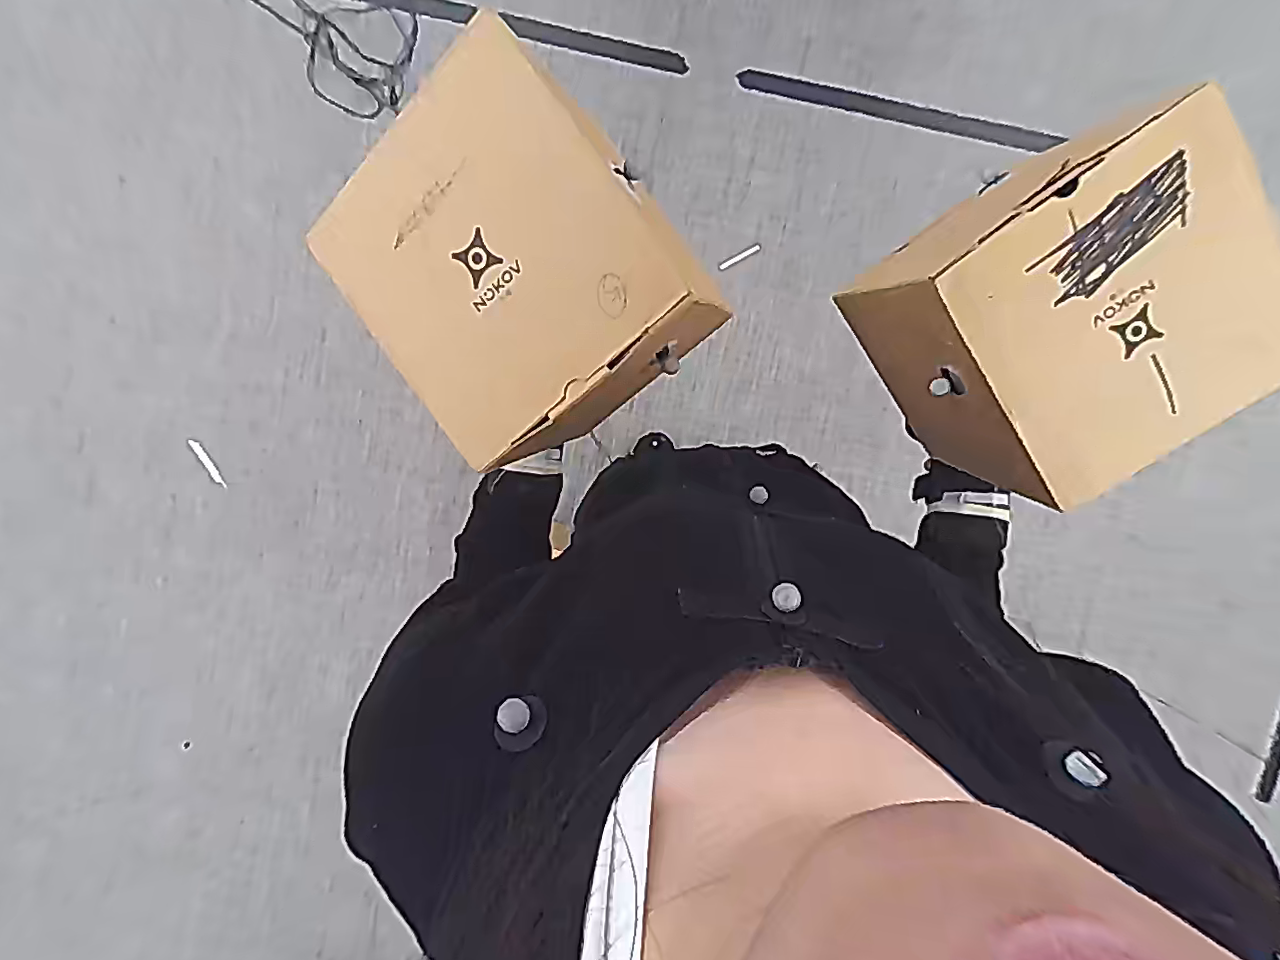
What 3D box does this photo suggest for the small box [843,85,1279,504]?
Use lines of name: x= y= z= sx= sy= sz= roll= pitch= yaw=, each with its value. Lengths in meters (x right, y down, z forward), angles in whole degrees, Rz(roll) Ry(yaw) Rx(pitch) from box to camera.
small box: x=0.278 y=-0.115 z=0.387 sx=0.168 sy=0.176 sz=0.179 roll=-35 pitch=102 yaw=10

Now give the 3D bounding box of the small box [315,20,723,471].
small box: x=-0.061 y=-0.135 z=0.371 sx=0.168 sy=0.176 sz=0.179 roll=-37 pitch=91 yaw=20
